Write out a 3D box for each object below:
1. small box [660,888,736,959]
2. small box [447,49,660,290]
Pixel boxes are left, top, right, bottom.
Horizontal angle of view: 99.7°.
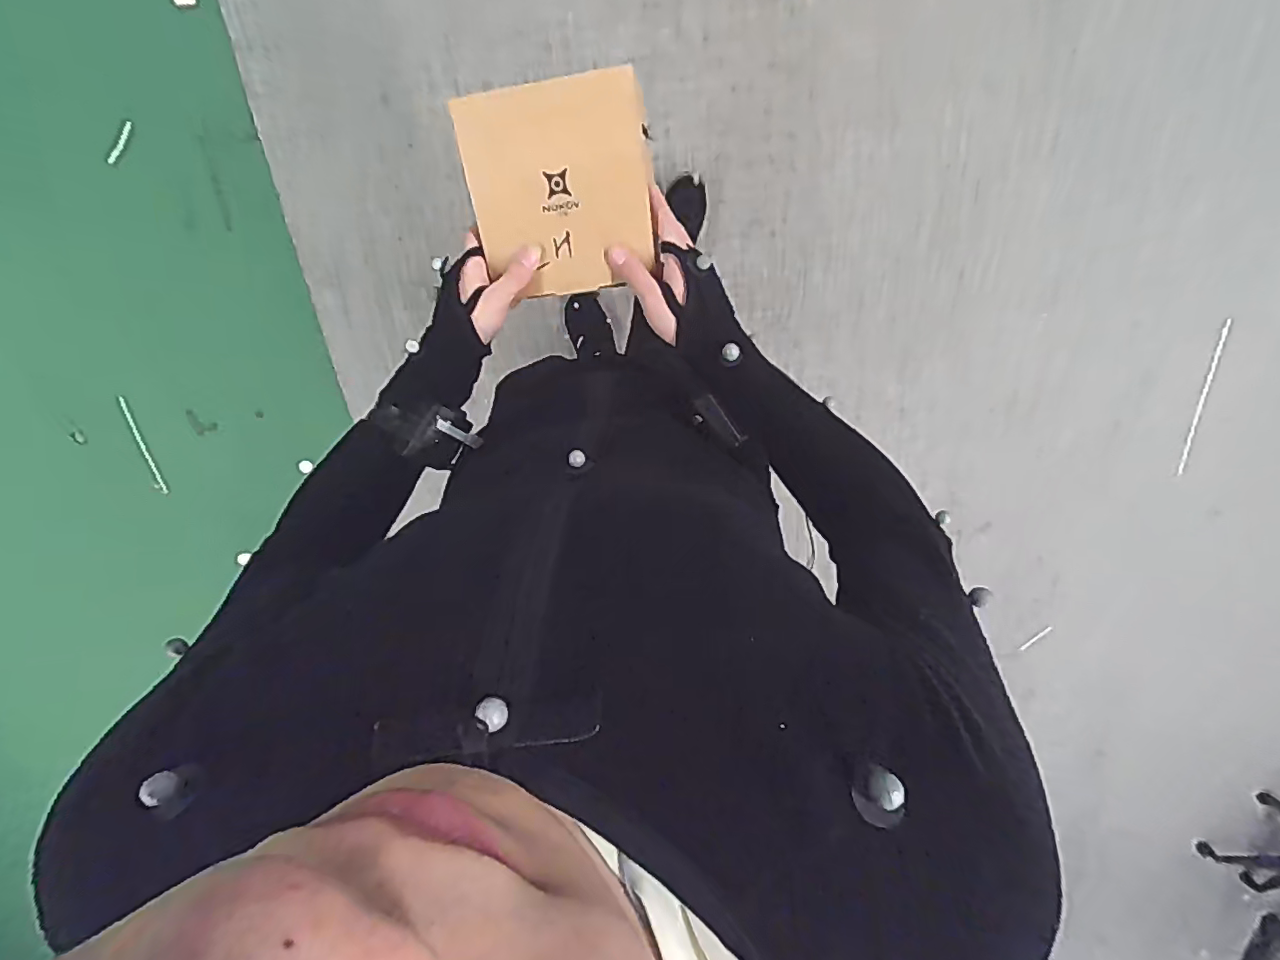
[{"bbox_3d":[0.141,1.138,1.320,0.179,0.176,0.168,-7,115,3],"label":"small box"},{"bbox_3d":[-0.070,-0.302,0.556,0.168,0.176,0.179,-4,115,7],"label":"small box"}]
